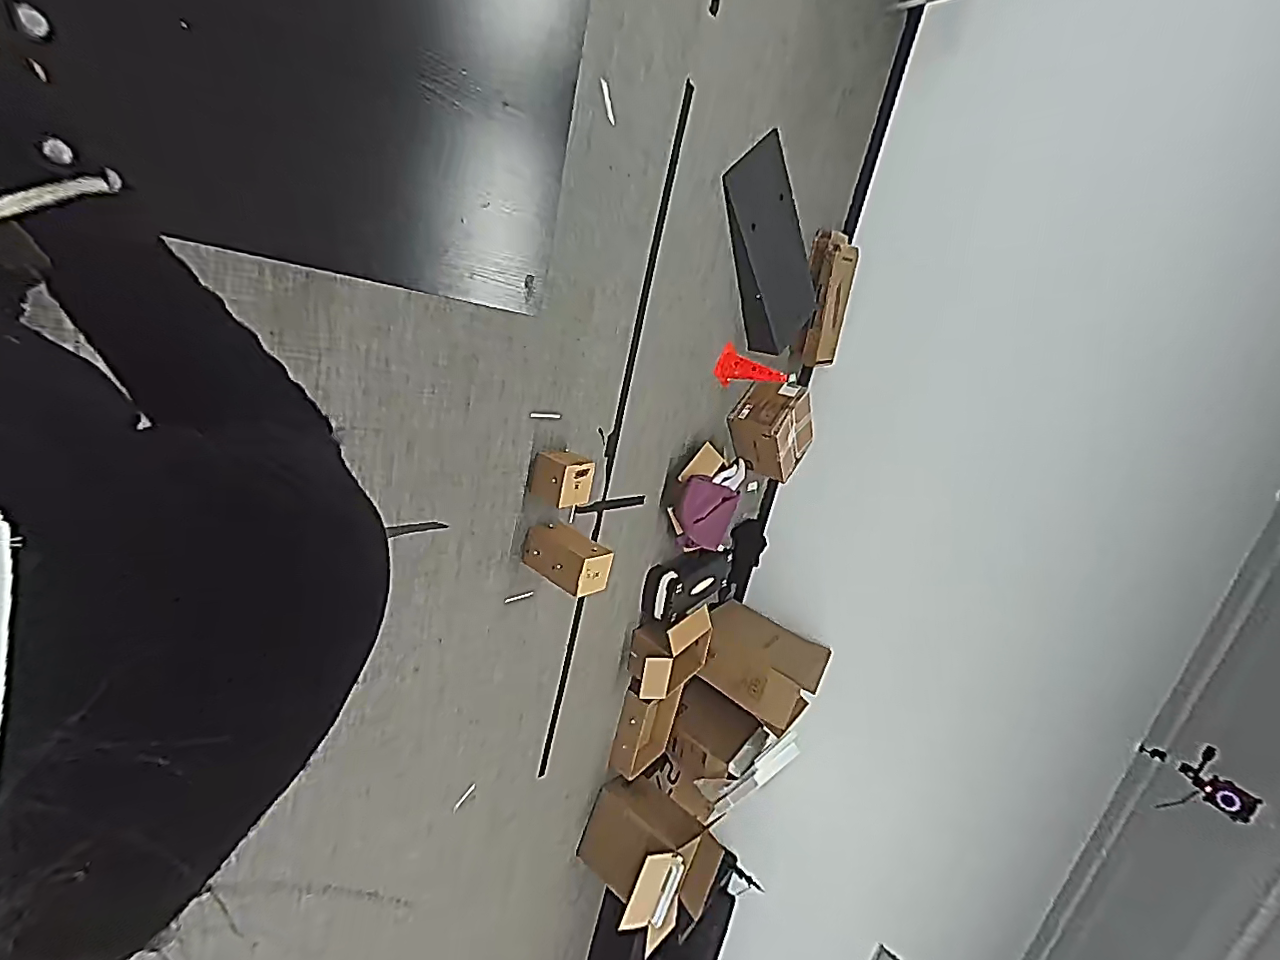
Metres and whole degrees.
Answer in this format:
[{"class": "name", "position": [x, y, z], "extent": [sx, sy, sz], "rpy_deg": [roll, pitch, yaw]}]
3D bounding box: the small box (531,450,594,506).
[{"class": "small box", "position": [-0.311, -0.014, 2.136], "extent": [0.168, 0.176, 0.179], "rpy_deg": [-9, 117, -52]}]

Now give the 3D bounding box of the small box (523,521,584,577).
[{"class": "small box", "position": [-0.364, 0.283, 2.246], "extent": [0.179, 0.176, 0.168], "rpy_deg": [-6, 114, -52]}]

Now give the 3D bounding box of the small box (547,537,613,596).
[{"class": "small box", "position": [-0.241, 0.336, 2.147], "extent": [0.179, 0.176, 0.168], "rpy_deg": [-3, 112, -53]}]
